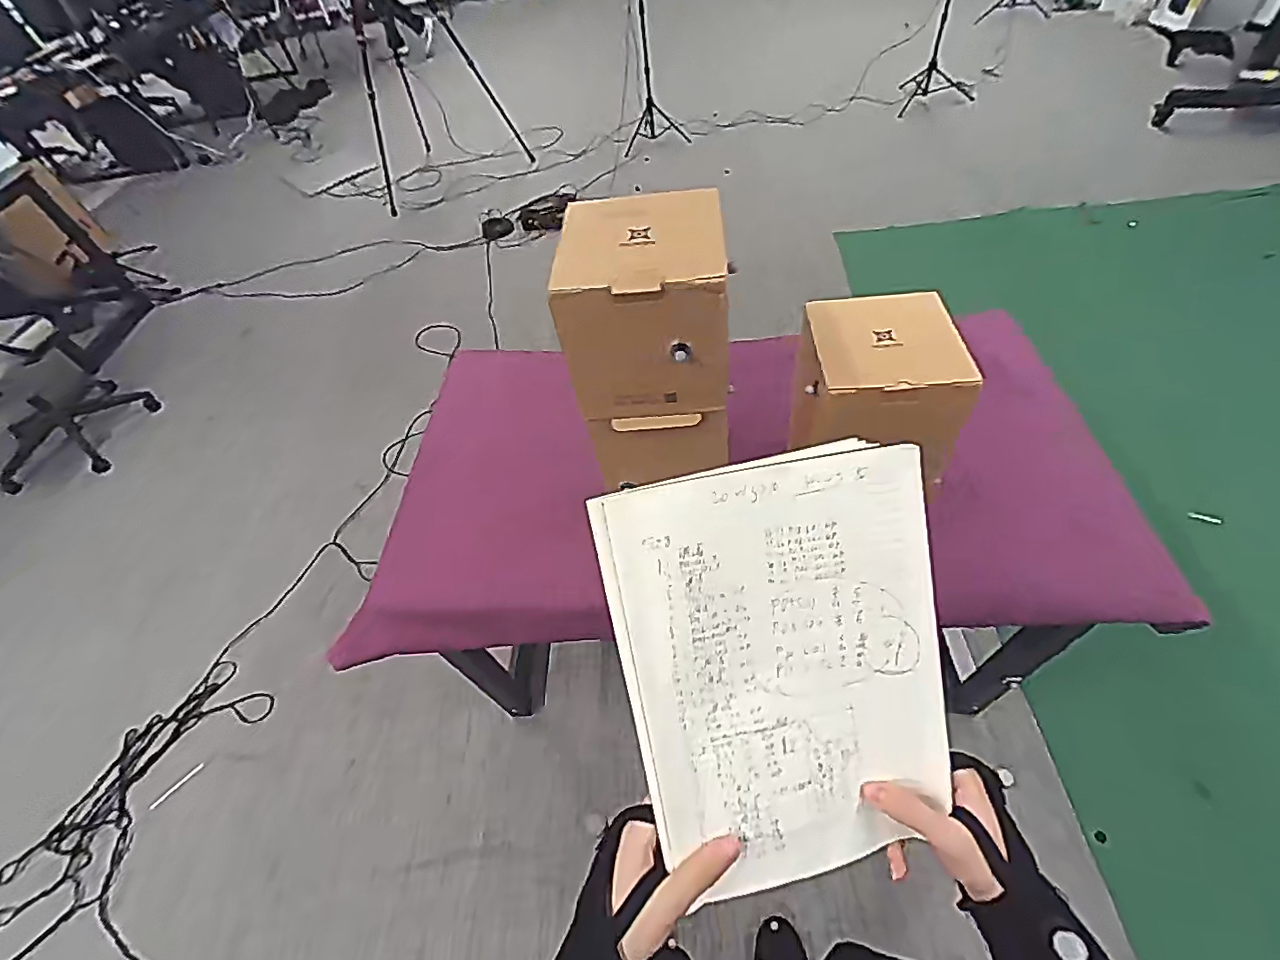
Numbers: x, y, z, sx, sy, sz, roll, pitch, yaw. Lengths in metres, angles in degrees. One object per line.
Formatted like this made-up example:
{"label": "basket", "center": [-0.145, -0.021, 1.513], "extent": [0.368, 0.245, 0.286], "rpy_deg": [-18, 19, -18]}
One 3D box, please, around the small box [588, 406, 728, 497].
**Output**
{"label": "small box", "center": [0.033, -0.088, 0.734], "extent": [0.168, 0.176, 0.179], "rpy_deg": [-3, 51, 7]}

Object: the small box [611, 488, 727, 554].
{"label": "small box", "center": [0.053, 0.009, 0.866], "extent": [0.168, 0.176, 0.179], "rpy_deg": [-3, 52, 7]}

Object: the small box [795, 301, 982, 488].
{"label": "small box", "center": [0.304, -0.109, 0.709], "extent": [0.168, 0.176, 0.179], "rpy_deg": [-3, 51, 7]}

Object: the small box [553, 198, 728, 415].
{"label": "small box", "center": [0.013, -0.185, 0.604], "extent": [0.168, 0.176, 0.179], "rpy_deg": [-2, 51, 7]}
